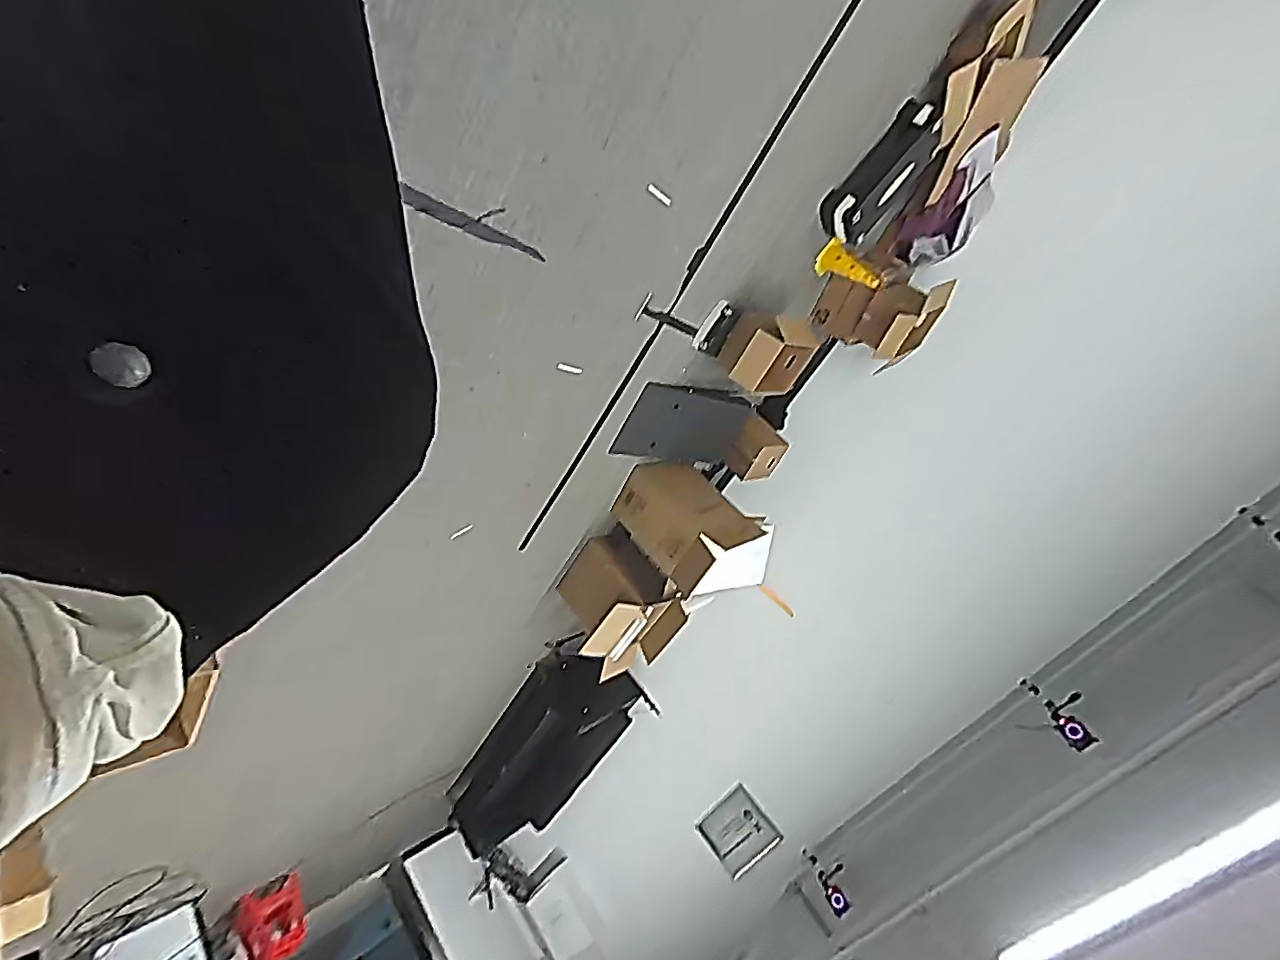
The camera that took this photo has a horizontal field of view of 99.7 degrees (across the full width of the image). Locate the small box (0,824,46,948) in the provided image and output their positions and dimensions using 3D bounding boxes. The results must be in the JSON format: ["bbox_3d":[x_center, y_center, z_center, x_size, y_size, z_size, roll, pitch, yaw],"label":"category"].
[{"bbox_3d":[-1.343,0.849,1.094,0.168,0.176,0.179,-3,132,-54],"label":"small box"}]
